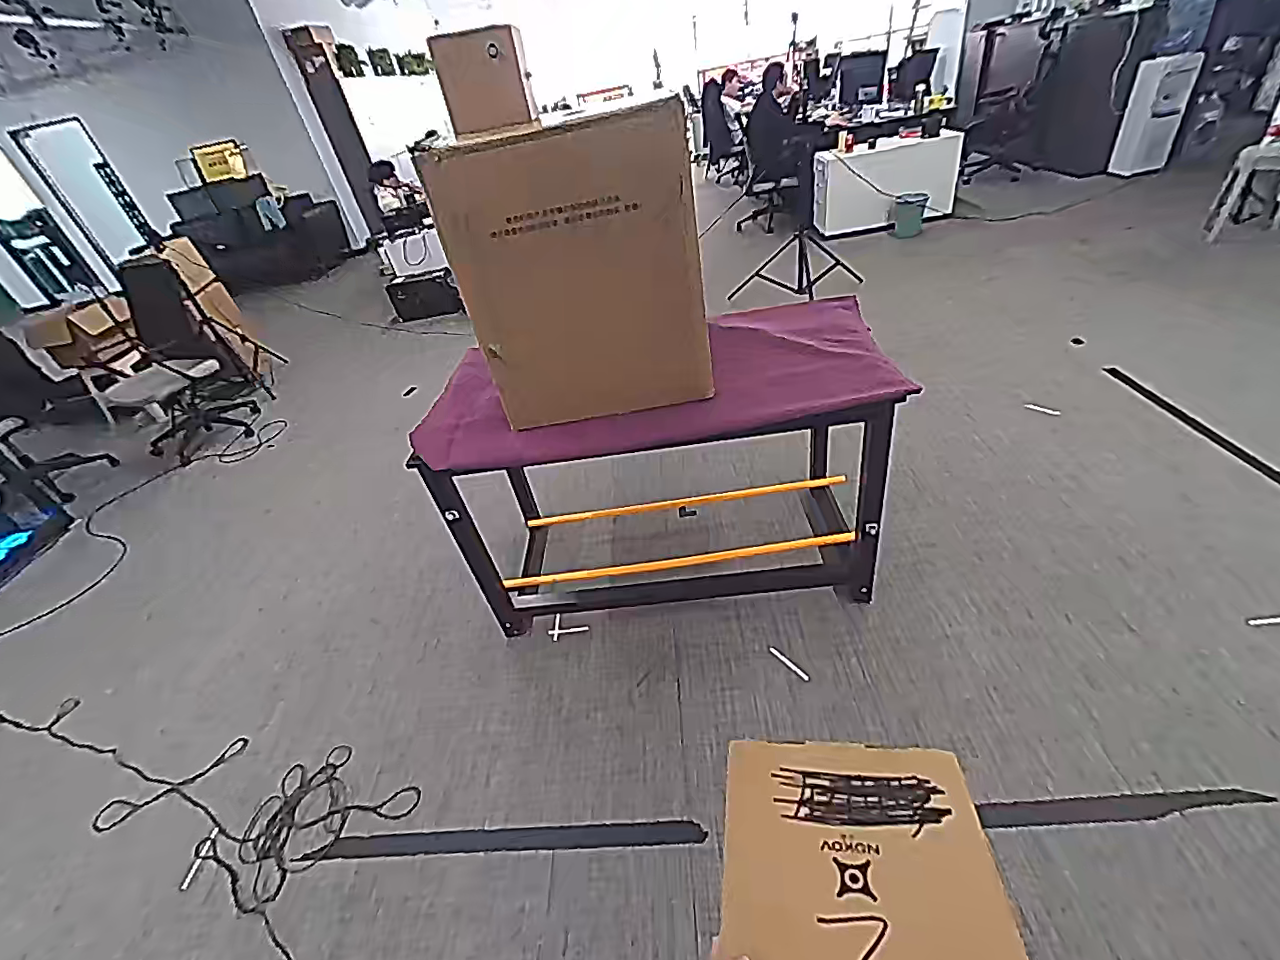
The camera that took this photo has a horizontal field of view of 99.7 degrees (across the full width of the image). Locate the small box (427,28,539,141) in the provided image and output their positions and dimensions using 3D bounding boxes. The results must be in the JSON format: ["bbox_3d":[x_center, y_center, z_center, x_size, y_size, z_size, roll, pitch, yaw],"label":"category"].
[{"bbox_3d":[-0.329,-0.858,1.177,0.179,0.176,0.168,-9,36,3],"label":"small box"}]
